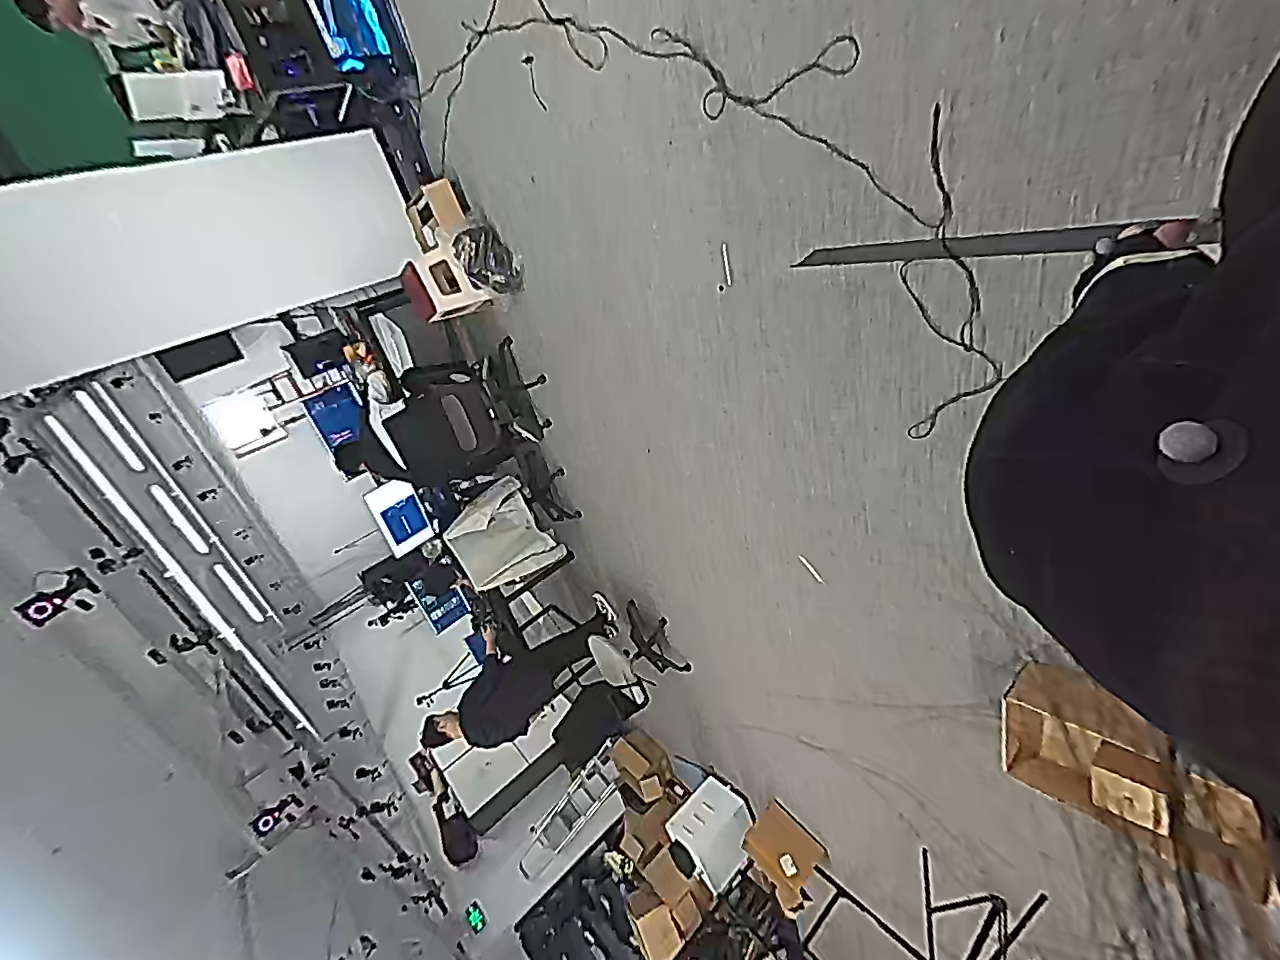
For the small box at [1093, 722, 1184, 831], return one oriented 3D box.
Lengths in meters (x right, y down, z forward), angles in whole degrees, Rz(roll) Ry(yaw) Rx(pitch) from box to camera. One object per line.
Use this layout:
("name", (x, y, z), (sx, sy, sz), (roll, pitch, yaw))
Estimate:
("small box", (1.430, 0.842, 1.550), (0.168, 0.176, 0.179), (8, 125, 53))
